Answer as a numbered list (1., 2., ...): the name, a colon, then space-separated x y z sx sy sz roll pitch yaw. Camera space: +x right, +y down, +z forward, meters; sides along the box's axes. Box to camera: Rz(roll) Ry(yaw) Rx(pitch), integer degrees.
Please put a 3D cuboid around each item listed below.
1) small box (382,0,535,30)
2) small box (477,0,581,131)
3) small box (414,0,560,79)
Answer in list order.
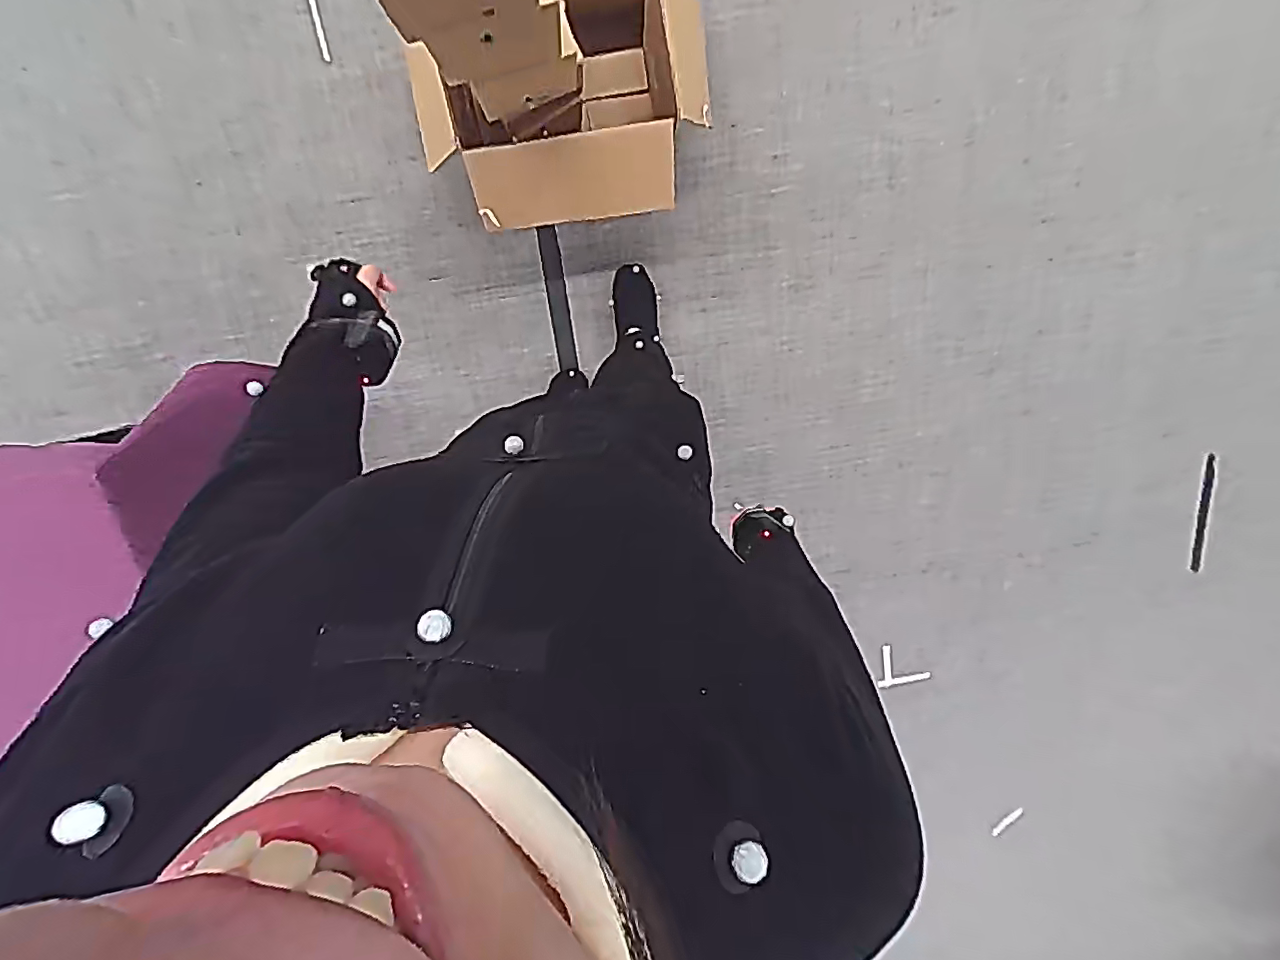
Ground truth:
1. small box: -0.207 -0.589 0.535 0.168 0.176 0.179 -16 111 -2
2. small box: -0.221 -0.782 0.990 0.179 0.176 0.168 -30 110 3
3. small box: -0.208 -0.647 0.688 0.179 0.176 0.168 -16 112 -1
